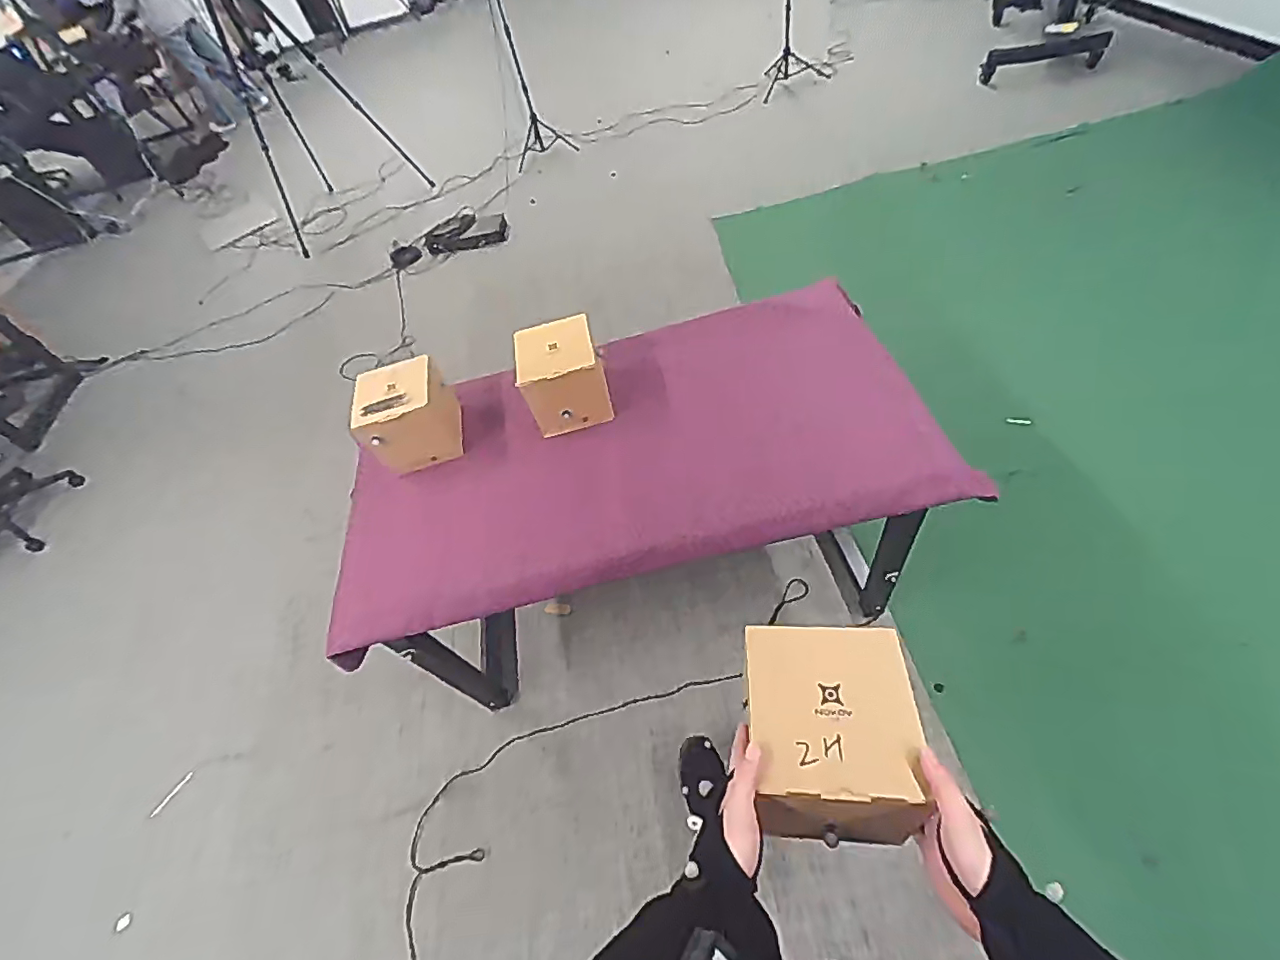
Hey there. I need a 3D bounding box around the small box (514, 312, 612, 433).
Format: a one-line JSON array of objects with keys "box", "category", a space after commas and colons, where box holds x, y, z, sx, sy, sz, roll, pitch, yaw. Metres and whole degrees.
[{"box": [-0.167, -0.232, 1.188, 0.168, 0.176, 0.179, -15, 54, 2], "category": "small box"}]

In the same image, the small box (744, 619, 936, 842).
[{"box": [0.202, 0.277, 0.604, 0.168, 0.176, 0.179, -2, 46, 10], "category": "small box"}]
